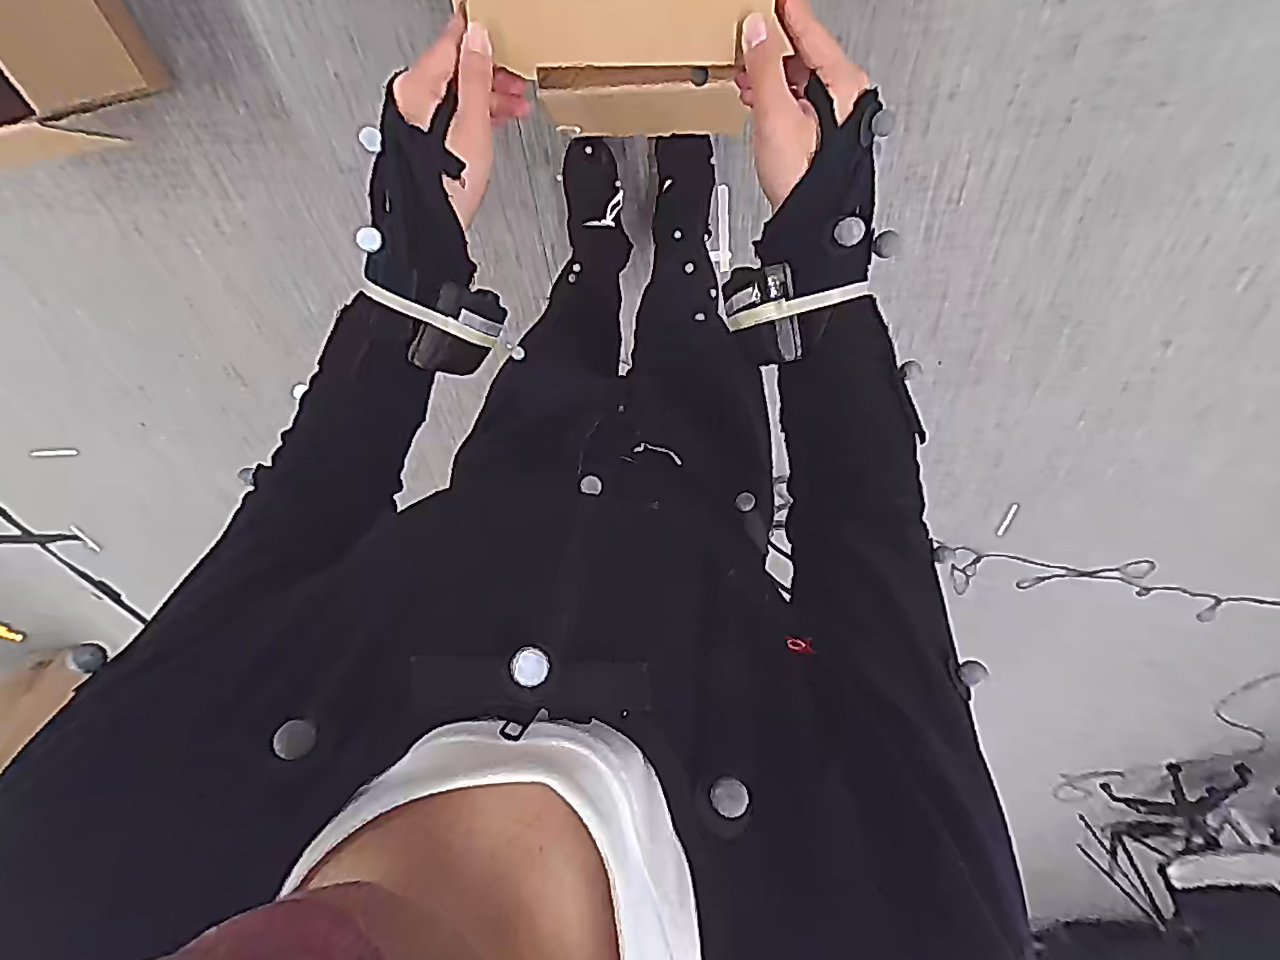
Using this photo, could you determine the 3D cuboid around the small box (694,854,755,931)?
[{"bbox_3d":[0.264,1.321,1.733,0.168,0.176,0.179,3,133,1],"label":"small box"}]
